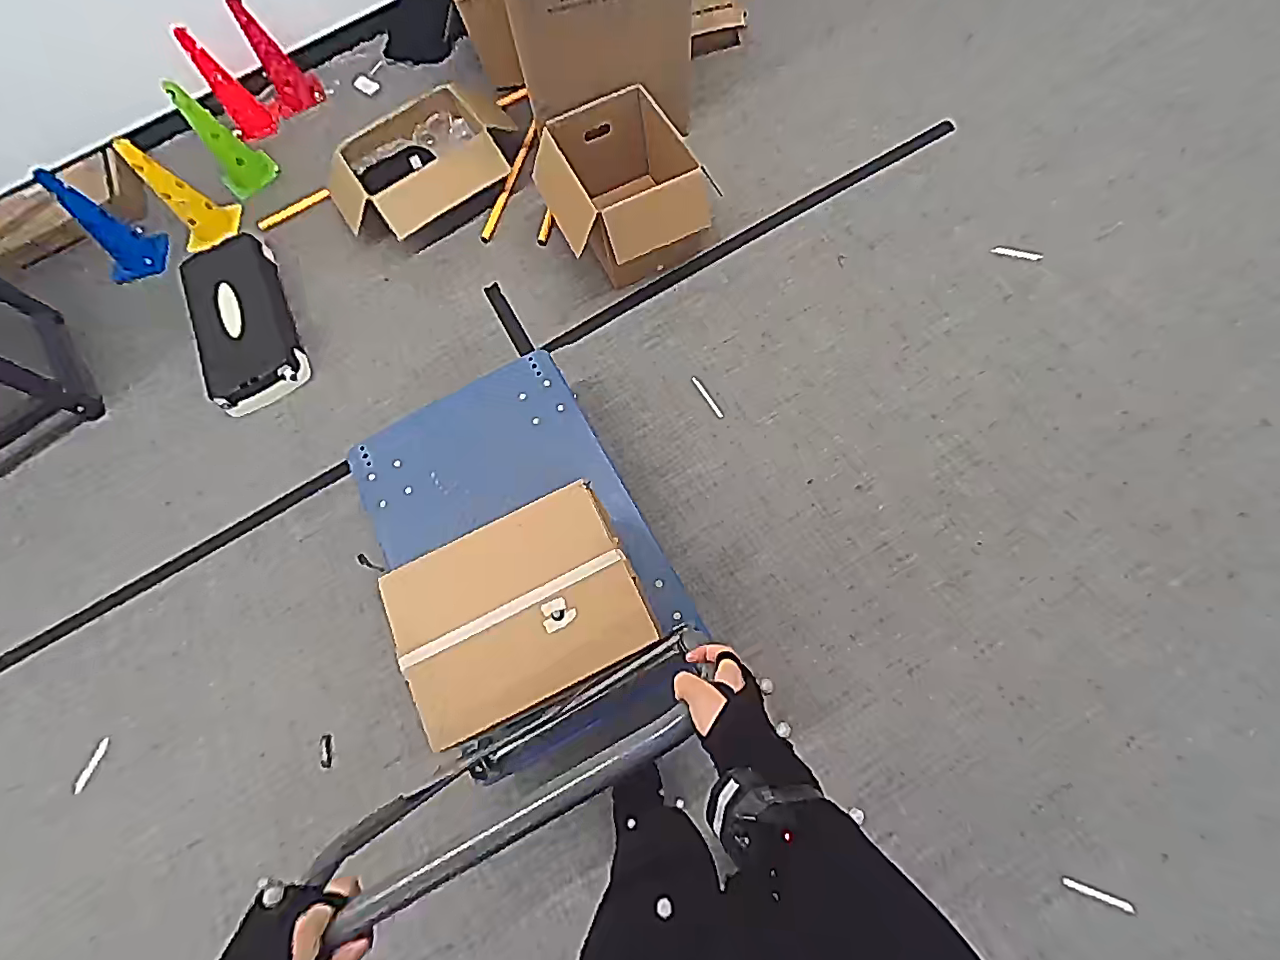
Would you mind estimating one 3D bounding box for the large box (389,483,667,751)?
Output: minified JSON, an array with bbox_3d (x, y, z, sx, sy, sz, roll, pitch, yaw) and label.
[{"bbox_3d":[-0.193,0.268,1.062,0.408,0.320,0.320,-26,72,-4],"label":"large box"}]
